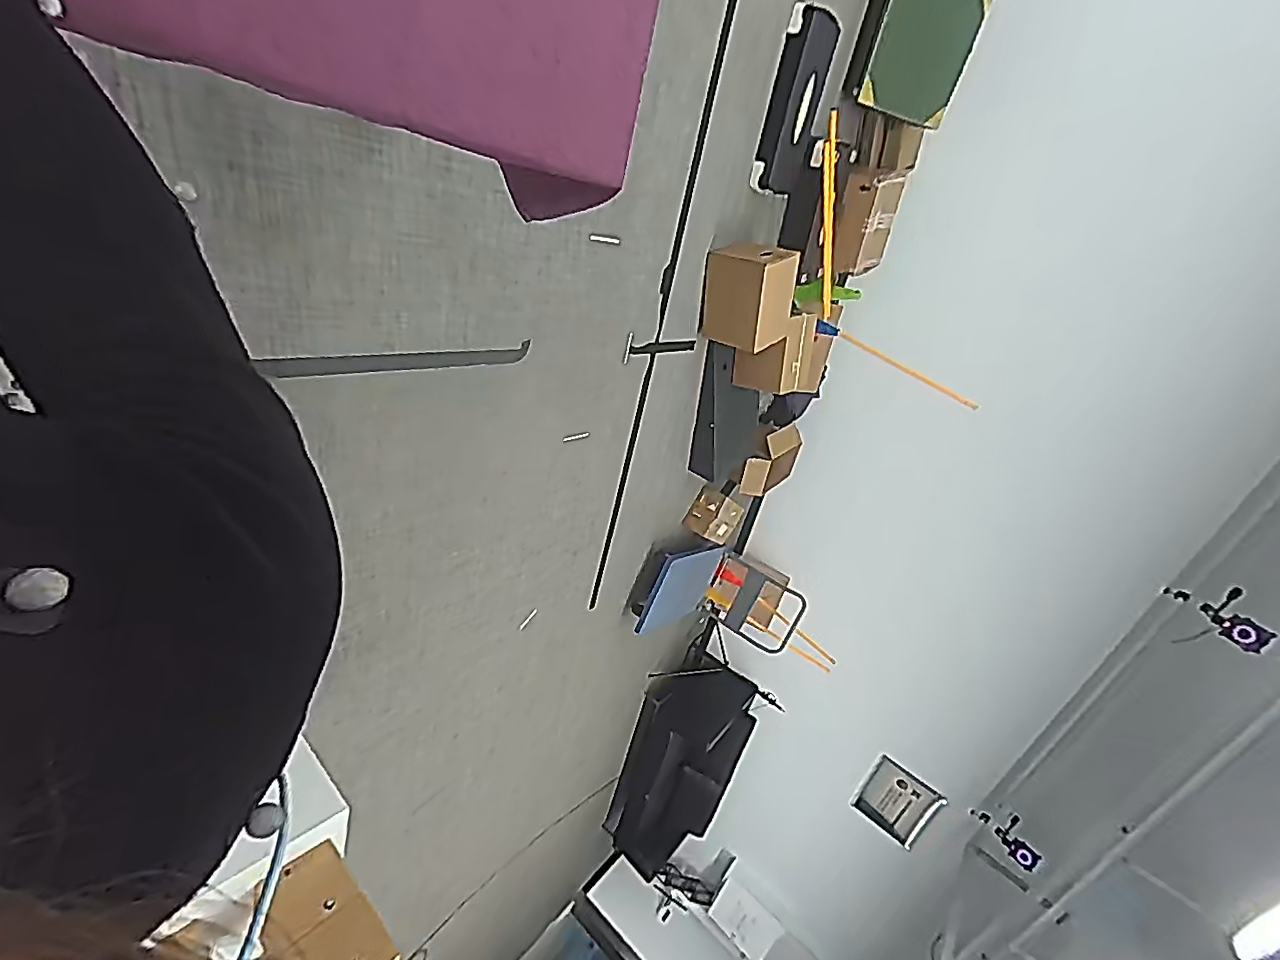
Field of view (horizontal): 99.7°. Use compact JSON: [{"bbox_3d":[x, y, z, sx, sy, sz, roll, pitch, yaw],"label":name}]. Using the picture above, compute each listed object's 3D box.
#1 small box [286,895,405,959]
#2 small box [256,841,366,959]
[{"bbox_3d":[-0.655,1.083,1.196,0.179,0.176,0.168,-13,127,-52],"label":"small box"},{"bbox_3d":[-0.780,1.012,1.277,0.168,0.176,0.179,-13,129,-53],"label":"small box"}]
